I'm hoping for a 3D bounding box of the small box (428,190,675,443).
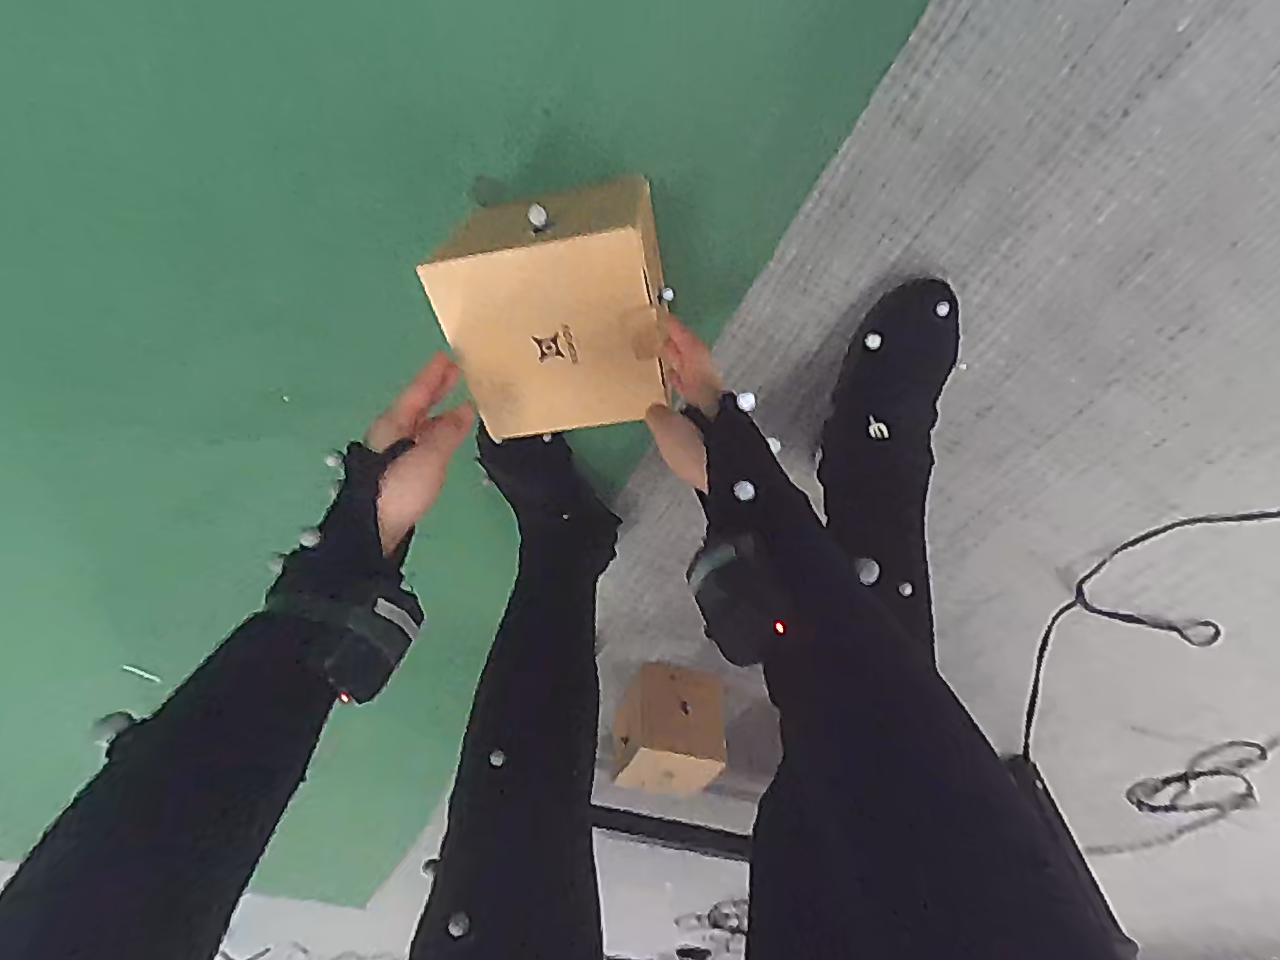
[{"bbox_3d":[-0.064,-0.158,0.515,0.179,0.176,0.168,-8,129,7],"label":"small box"}]

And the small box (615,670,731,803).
[{"bbox_3d":[0.057,0.494,1.047,0.168,0.176,0.179,16,128,-11],"label":"small box"}]
